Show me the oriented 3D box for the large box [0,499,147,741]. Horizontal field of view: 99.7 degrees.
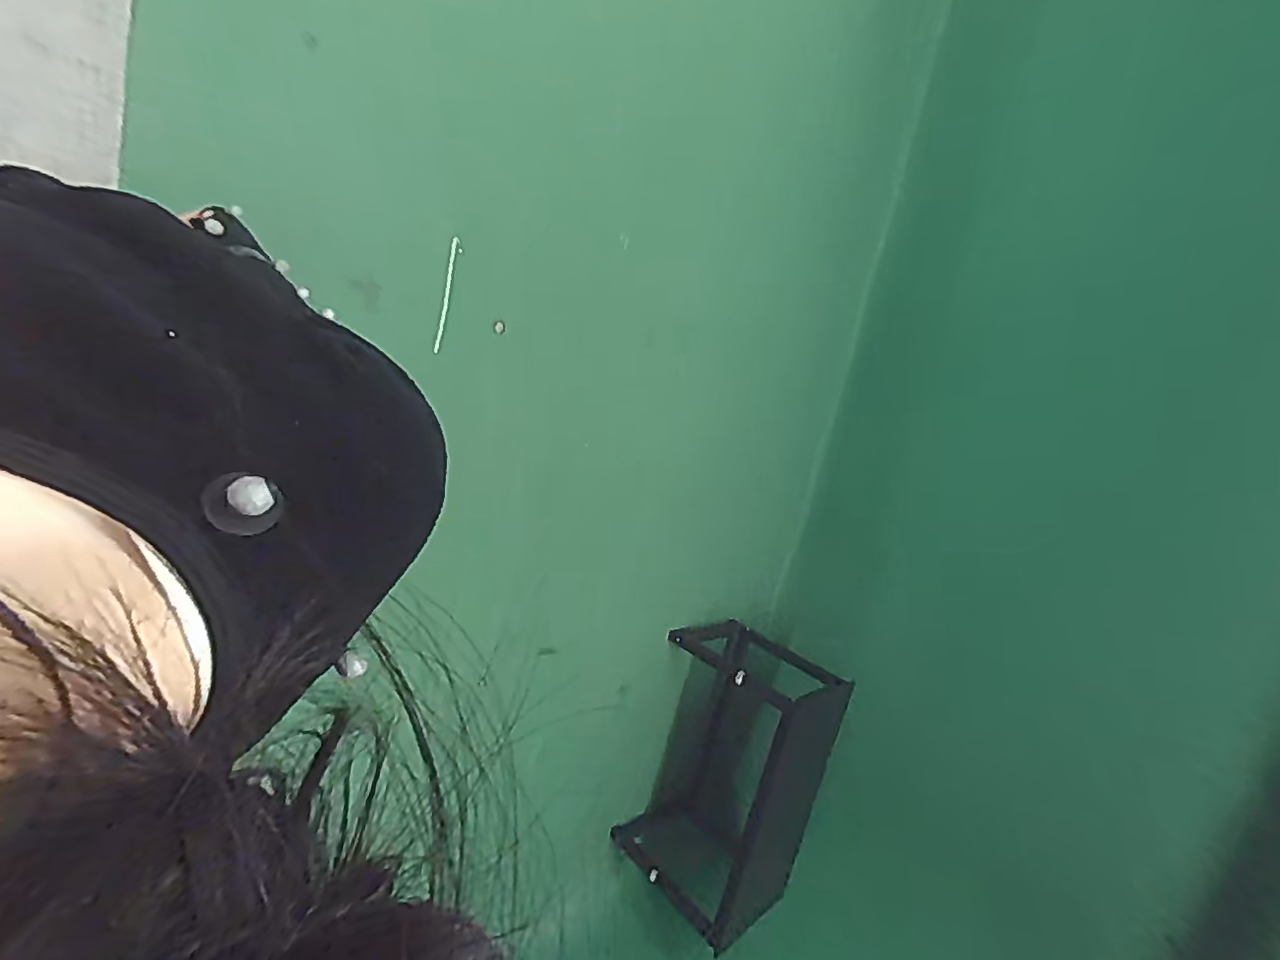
[{"bbox_3d":[-1.174,0.257,0.938,0.408,0.320,0.320,-16,118,-42],"label":"large box"}]
